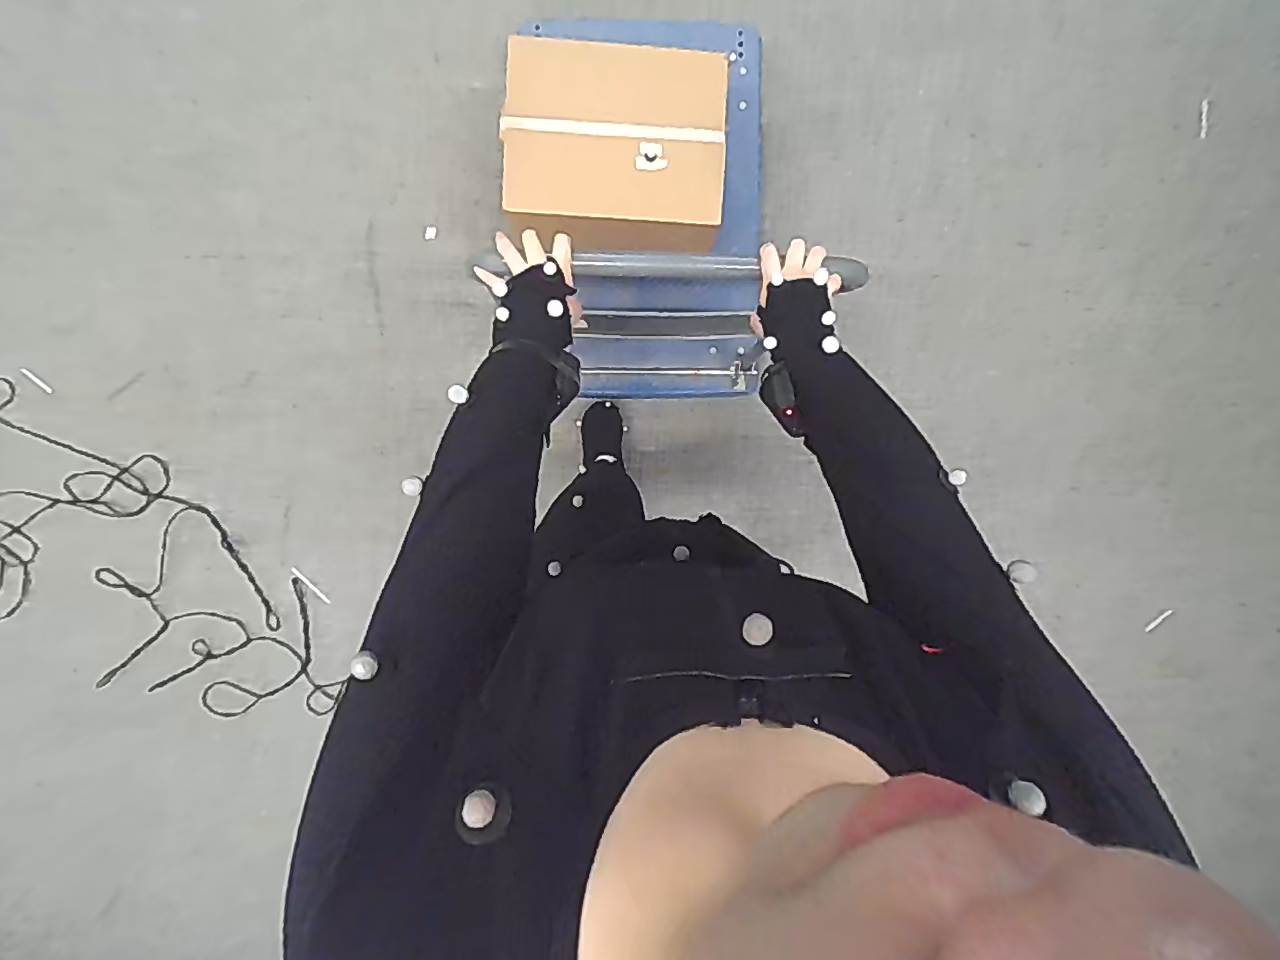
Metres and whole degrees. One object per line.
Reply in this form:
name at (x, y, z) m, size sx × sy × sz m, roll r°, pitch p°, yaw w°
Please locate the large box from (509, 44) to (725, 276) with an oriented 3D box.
large box at (-0.052, -0.648, 1.157) m, size 0.408 × 0.320 × 0.320 m, roll 2°, pitch 92°, yaw -4°
